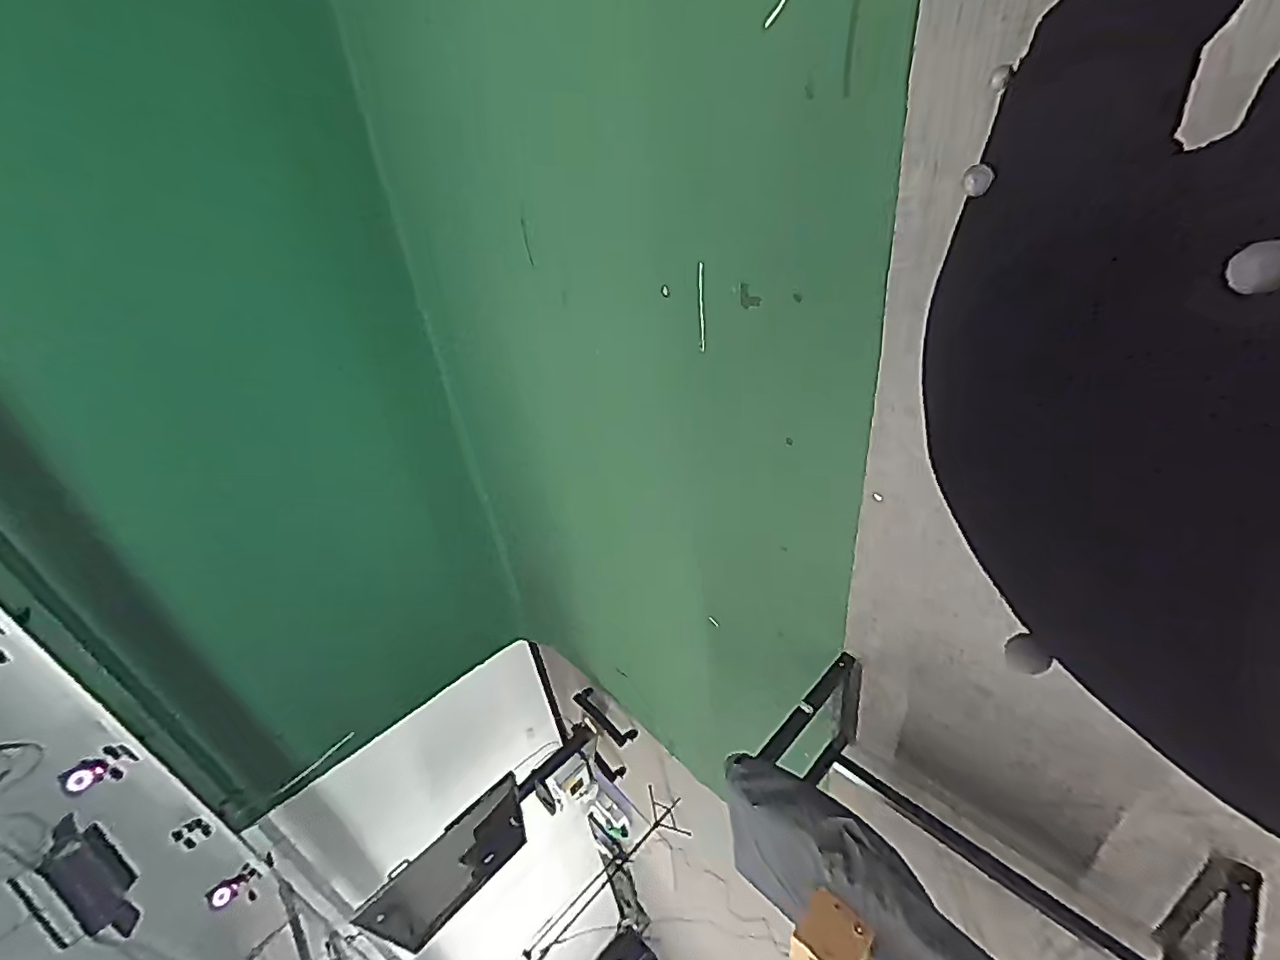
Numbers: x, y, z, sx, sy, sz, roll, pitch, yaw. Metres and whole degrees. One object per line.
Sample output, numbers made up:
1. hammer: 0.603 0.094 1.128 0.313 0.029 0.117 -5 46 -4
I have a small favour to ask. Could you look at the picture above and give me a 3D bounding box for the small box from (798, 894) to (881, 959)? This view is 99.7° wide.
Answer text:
1. small box: 0.574 1.353 1.556 0.168 0.176 0.179 24 135 41
